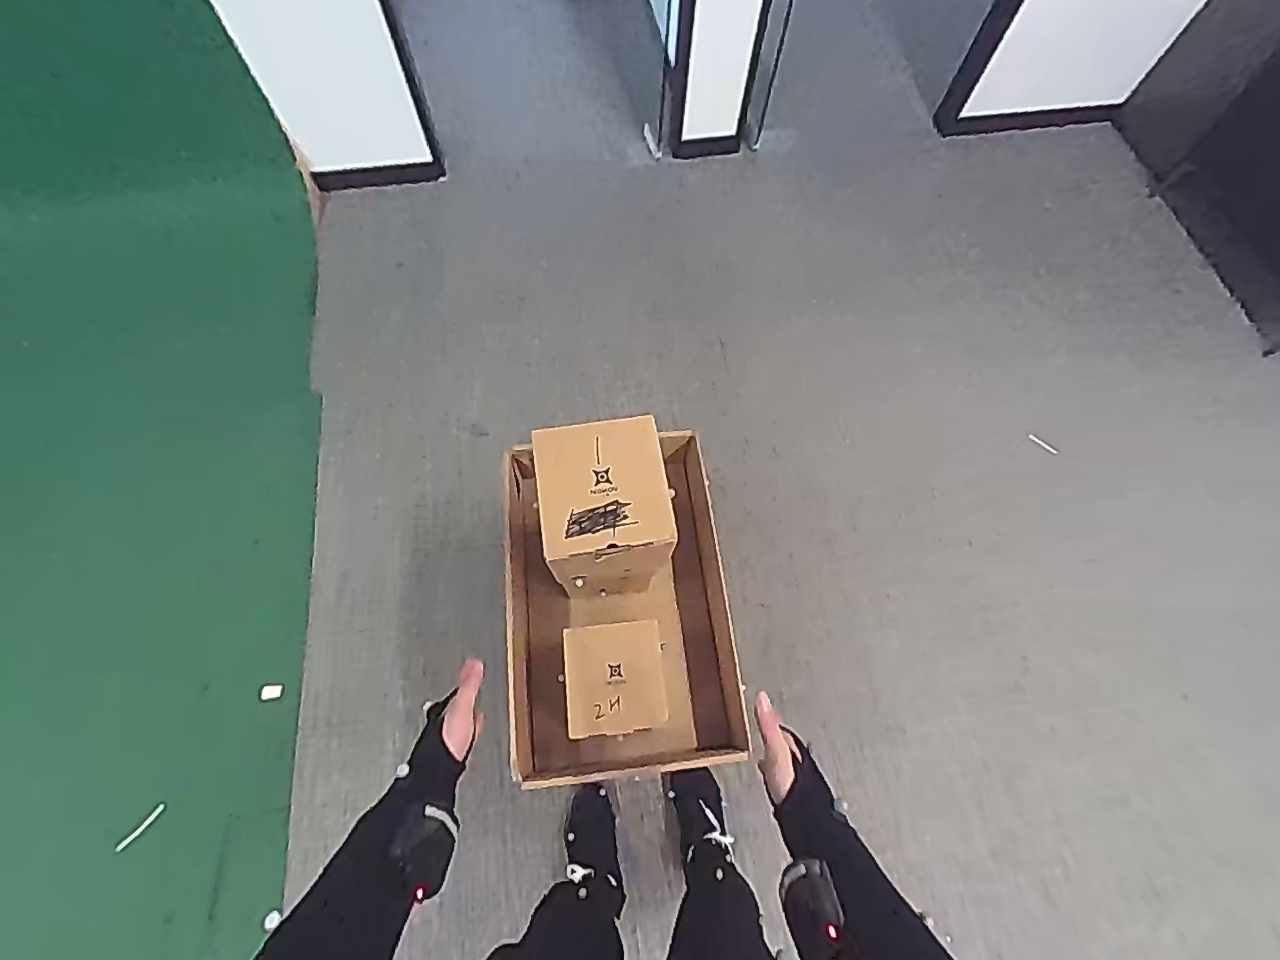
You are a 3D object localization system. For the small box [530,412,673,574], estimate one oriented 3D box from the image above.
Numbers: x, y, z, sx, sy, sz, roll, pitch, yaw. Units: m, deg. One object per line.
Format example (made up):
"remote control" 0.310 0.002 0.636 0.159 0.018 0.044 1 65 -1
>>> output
"small box" -0.053 0.029 0.757 0.168 0.176 0.179 -8 69 -5

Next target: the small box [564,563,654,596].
"small box" -0.068 0.123 1.073 0.168 0.176 0.179 -7 70 -5

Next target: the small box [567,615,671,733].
"small box" -0.040 0.352 0.969 0.168 0.176 0.179 -5 66 -3
